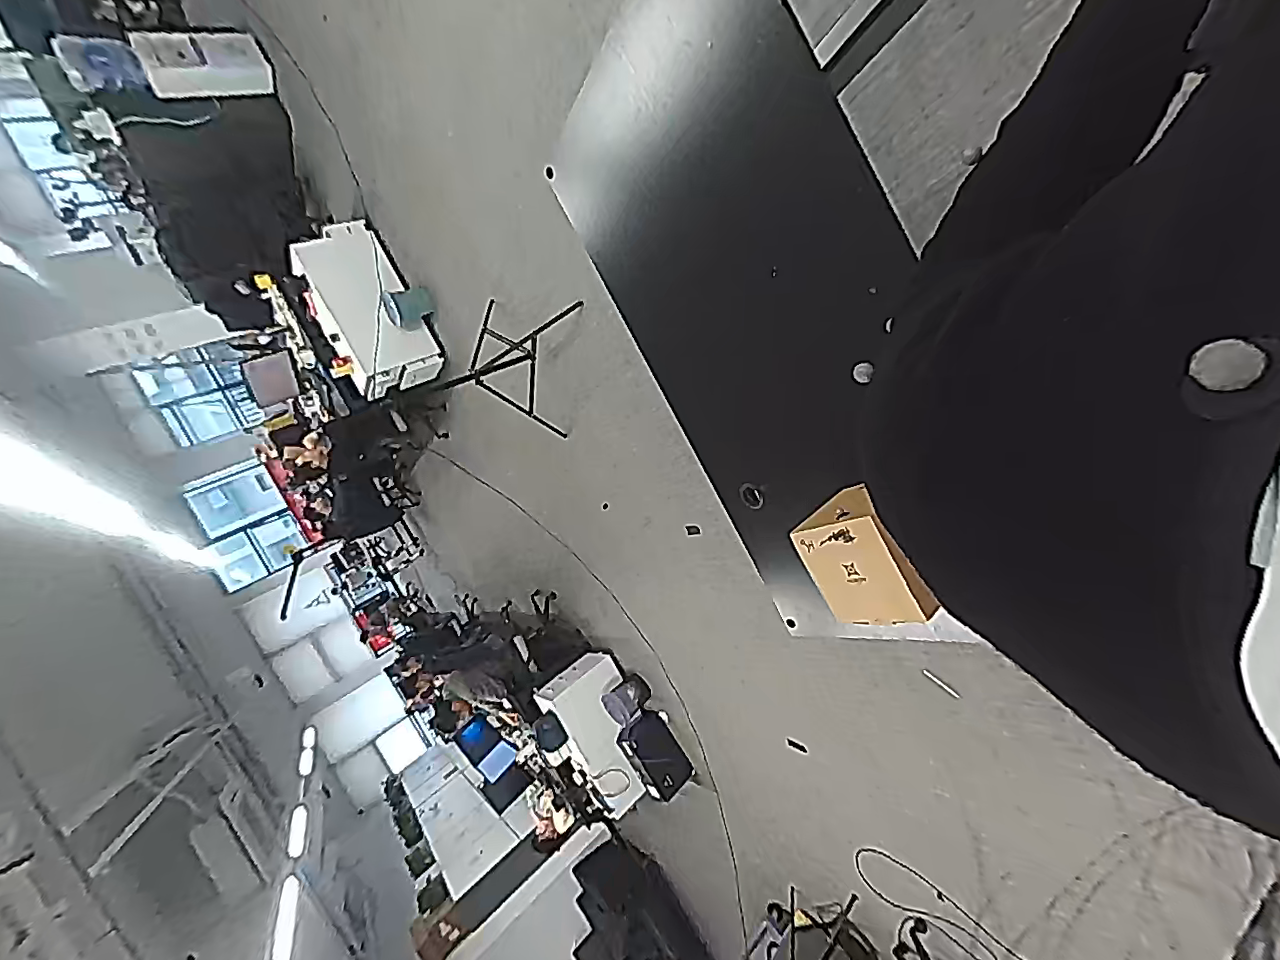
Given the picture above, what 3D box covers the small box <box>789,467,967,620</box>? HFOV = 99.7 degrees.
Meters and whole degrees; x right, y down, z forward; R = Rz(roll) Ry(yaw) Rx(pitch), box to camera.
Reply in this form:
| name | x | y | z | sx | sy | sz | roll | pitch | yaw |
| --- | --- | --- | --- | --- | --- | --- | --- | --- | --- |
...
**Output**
| name | x | y | z | sx | sy | sz | roll | pitch | yaw |
| --- | --- | --- | --- | --- | --- | --- | --- | --- | --- |
| small box | 0.385 | 0.105 | 0.872 | 0.179 | 0.176 | 0.168 | 60 | 148 | -2 |
